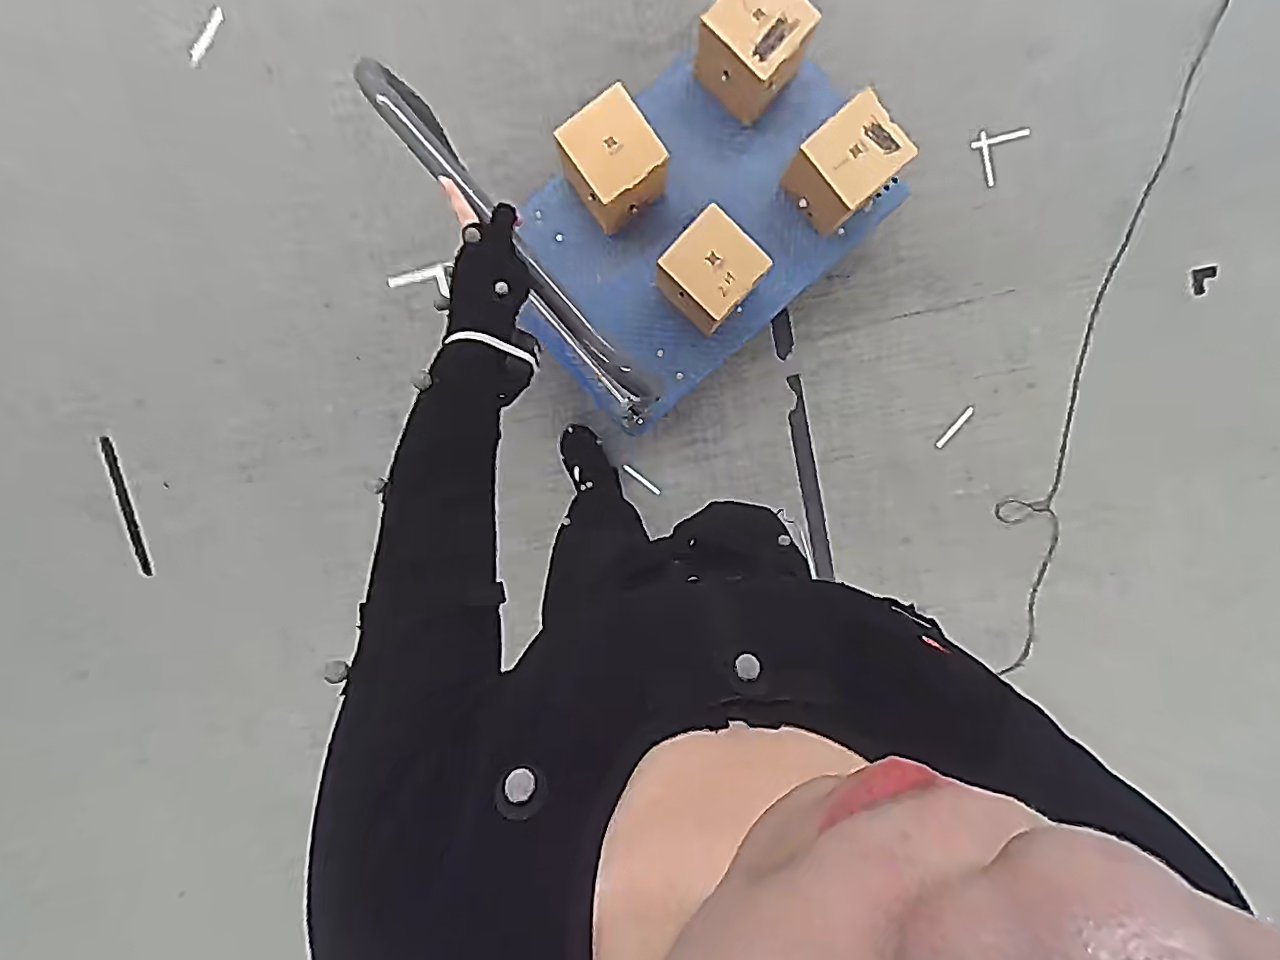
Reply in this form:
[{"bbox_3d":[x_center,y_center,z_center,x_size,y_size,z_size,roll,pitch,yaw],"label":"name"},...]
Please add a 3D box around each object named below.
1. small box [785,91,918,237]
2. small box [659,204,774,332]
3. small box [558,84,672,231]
[{"bbox_3d":[0.440,-0.663,1.156,0.179,0.176,0.168,-40,94,4],"label":"small box"},{"bbox_3d":[0.155,-0.446,1.172,0.179,0.176,0.168,44,93,-3],"label":"small box"},{"bbox_3d":[-0.052,-0.674,1.153,0.168,0.176,0.179,-36,96,2],"label":"small box"}]
